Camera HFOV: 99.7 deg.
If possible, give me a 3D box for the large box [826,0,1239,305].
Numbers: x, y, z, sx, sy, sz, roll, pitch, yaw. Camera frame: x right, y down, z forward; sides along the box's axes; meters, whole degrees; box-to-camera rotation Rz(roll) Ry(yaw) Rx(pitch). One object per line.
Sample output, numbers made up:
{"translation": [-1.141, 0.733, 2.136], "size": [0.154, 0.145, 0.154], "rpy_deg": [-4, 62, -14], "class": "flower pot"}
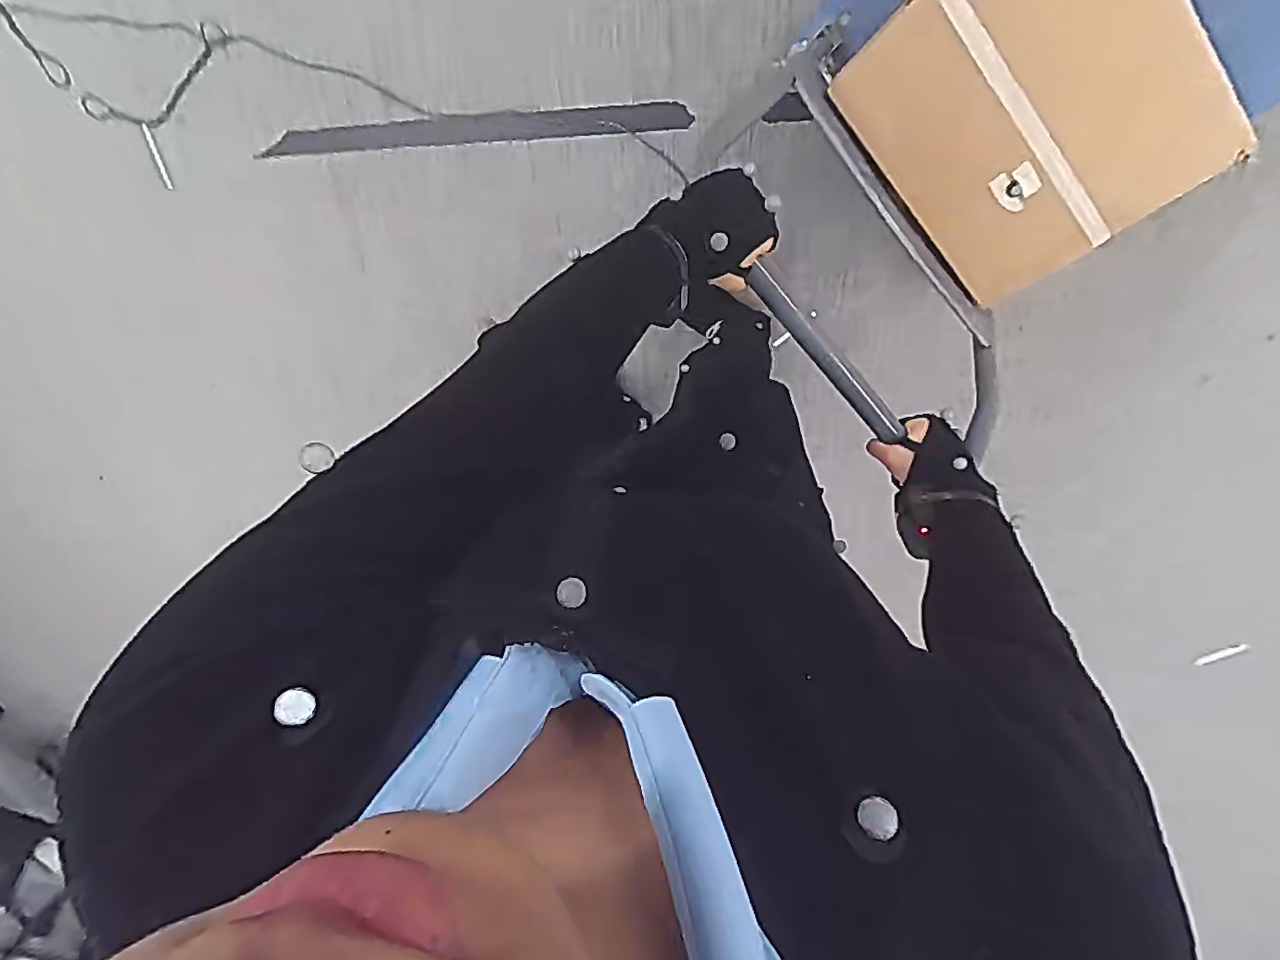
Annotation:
{"translation": [0.536, -0.558, 0.805], "size": [0.408, 0.320, 0.320], "rpy_deg": [43, 134, -15], "class": "large box"}
